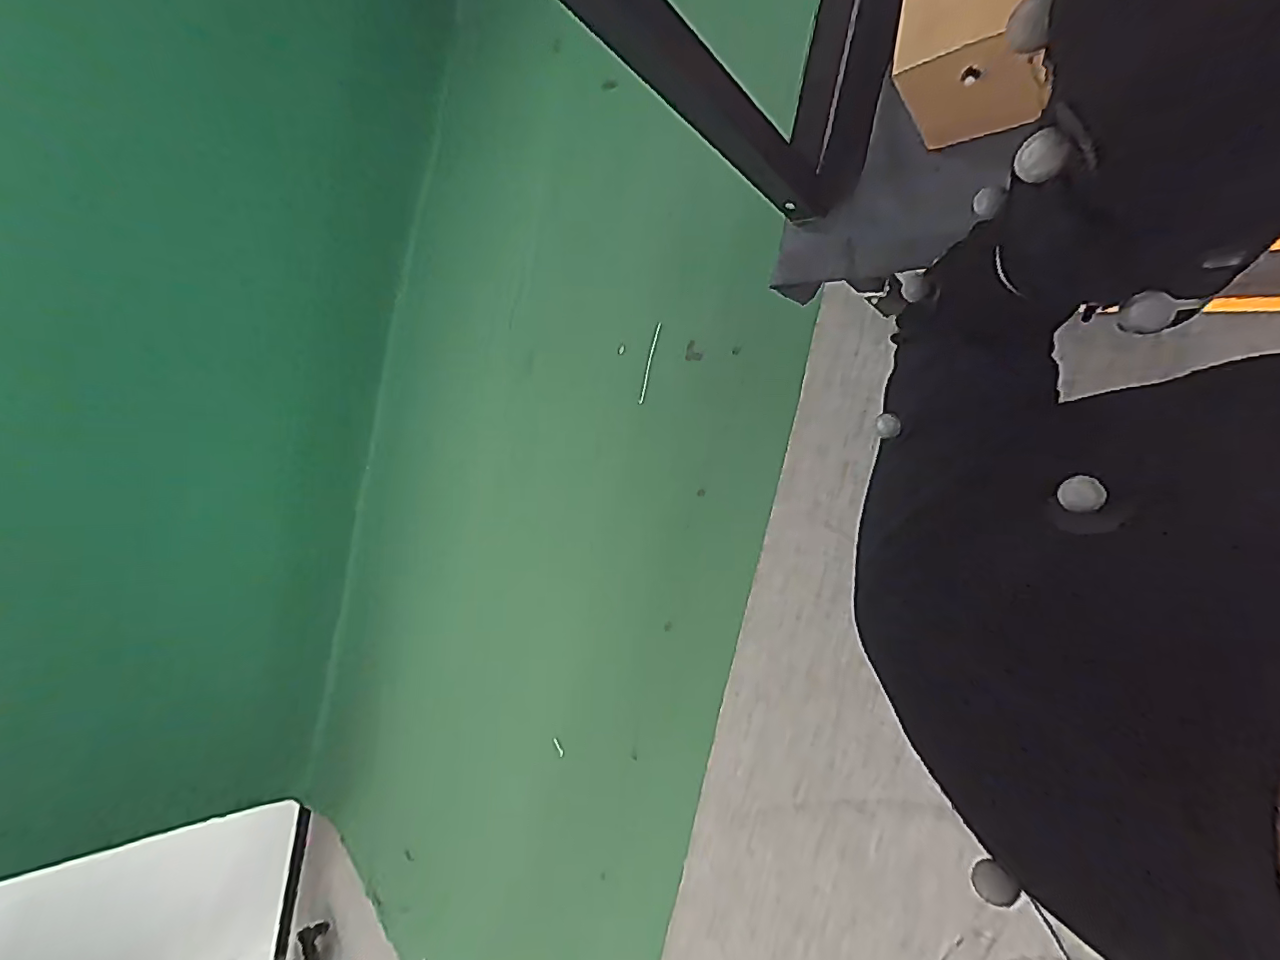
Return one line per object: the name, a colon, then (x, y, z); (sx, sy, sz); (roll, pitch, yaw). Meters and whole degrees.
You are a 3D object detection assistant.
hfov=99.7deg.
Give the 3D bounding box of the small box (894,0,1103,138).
small box: (0.435, -0.556, 0.654); (0.179, 0.176, 0.168); (9, 91, 42)
